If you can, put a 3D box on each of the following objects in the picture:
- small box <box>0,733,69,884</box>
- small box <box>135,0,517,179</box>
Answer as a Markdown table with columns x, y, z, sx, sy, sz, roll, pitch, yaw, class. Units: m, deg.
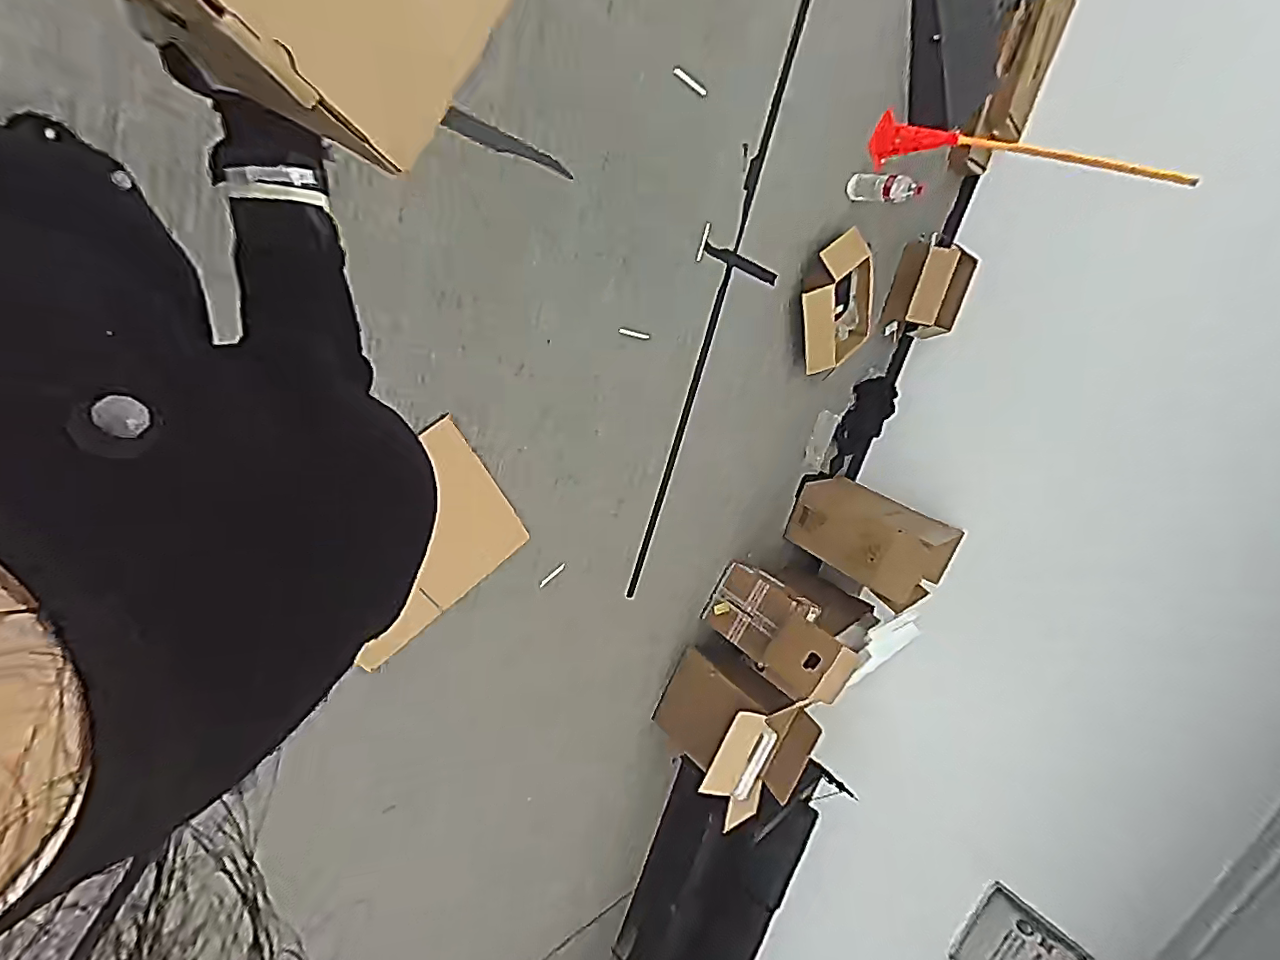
| x | y | z | sx | sy | sz | roll | pitch | yaw | class |
| --- | --- | --- | --- | --- | --- | --- | --- | --- | --- |
| -1.106 | 0.564 | 0.923 | 0.168 | 0.176 | 0.179 | 7 | 107 | -48 | small box |
| -0.180 | -0.299 | 0.261 | 0.179 | 0.176 | 0.168 | -58 | 164 | 4 | small box |
